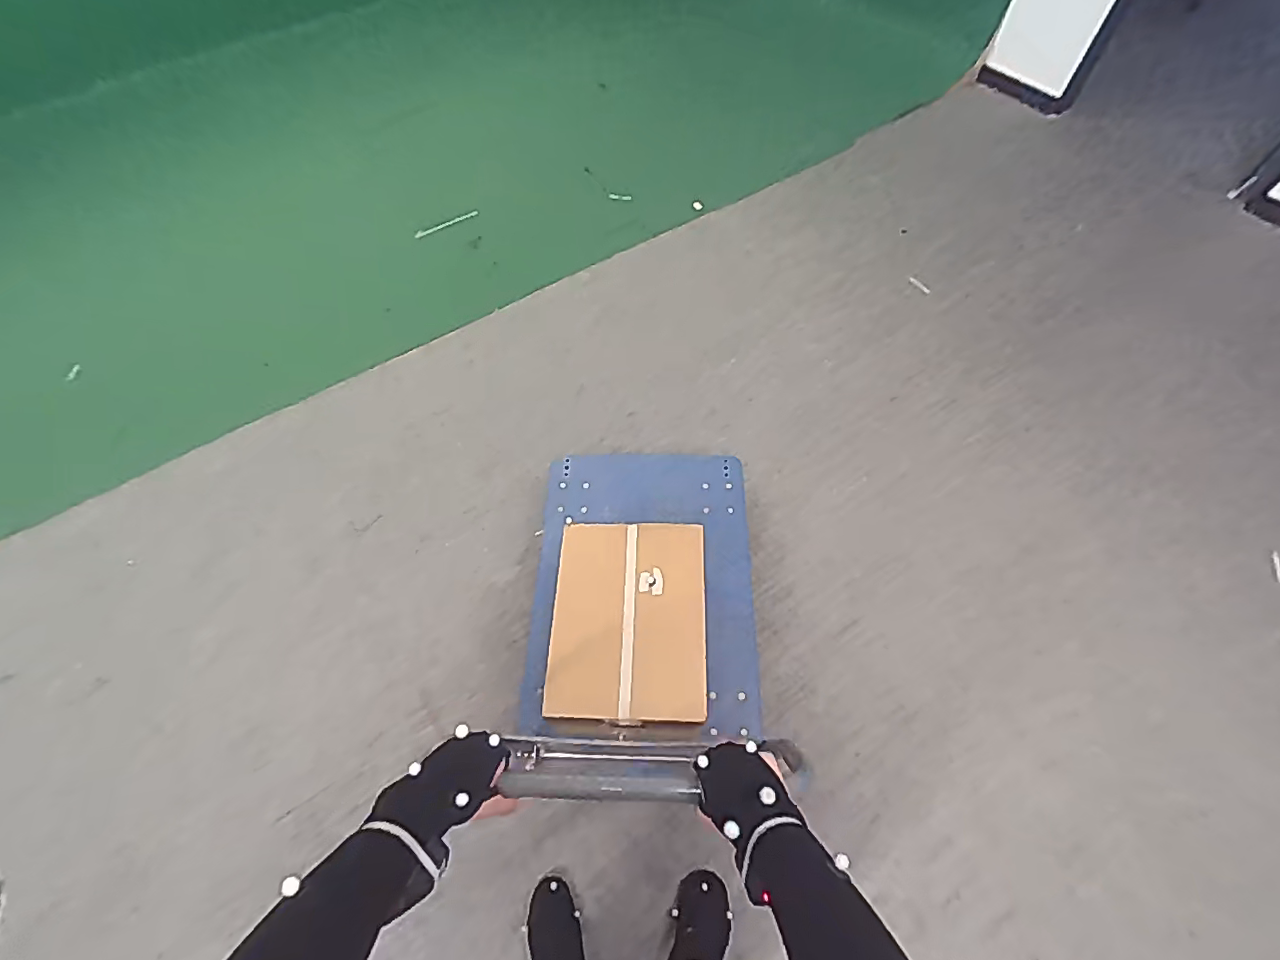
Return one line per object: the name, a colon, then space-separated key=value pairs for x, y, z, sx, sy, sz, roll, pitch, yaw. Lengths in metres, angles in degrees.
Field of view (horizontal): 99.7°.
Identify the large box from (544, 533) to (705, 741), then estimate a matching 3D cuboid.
large box: x=-0.016 y=0.370 z=1.250 sx=0.320 sy=0.320 sz=0.408 roll=1 pitch=59 yaw=4
